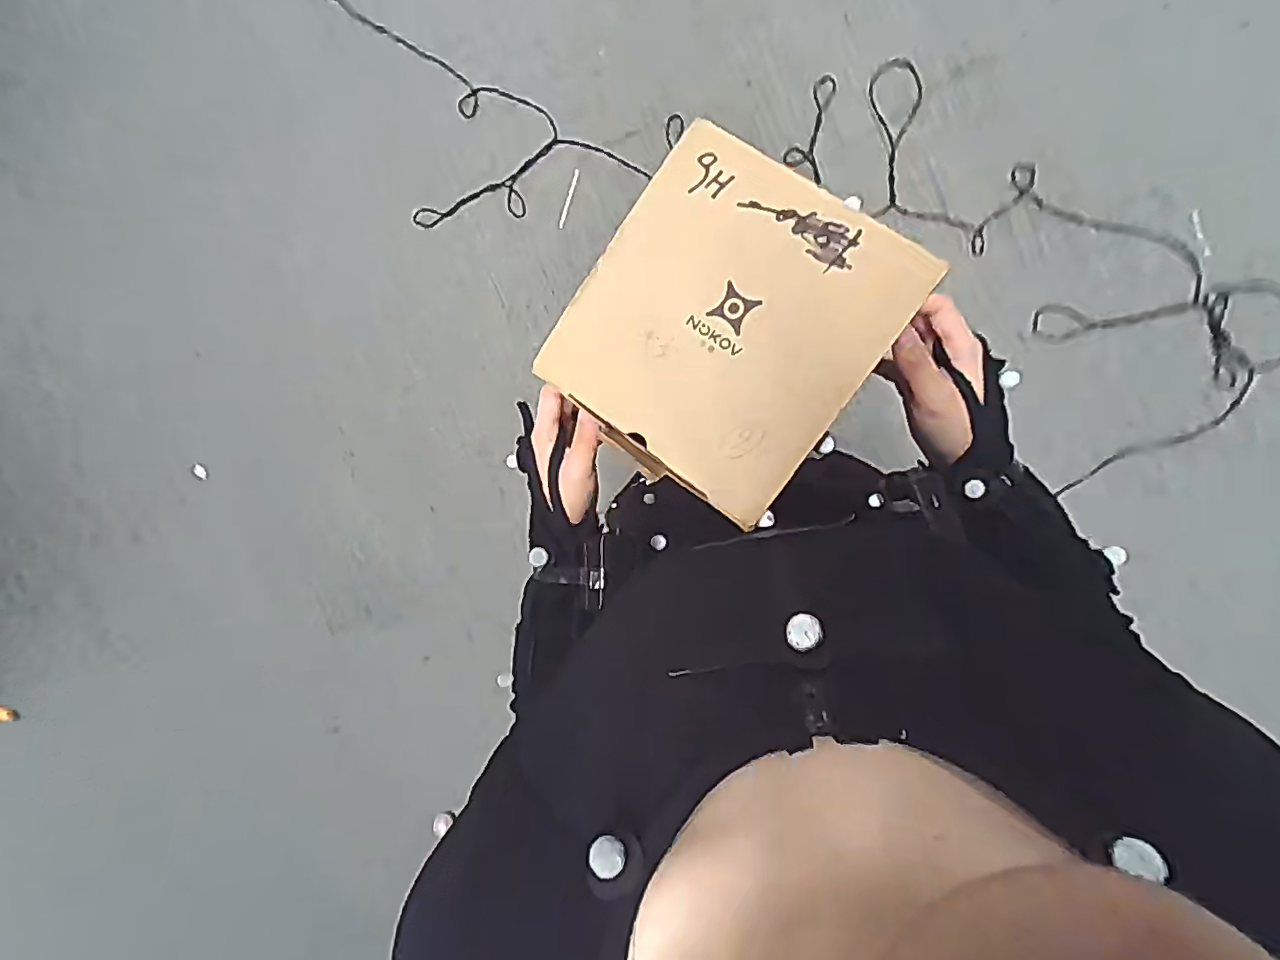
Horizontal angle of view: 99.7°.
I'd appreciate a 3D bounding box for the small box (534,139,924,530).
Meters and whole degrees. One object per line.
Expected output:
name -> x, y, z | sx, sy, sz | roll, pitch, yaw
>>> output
small box -> 0.061, -0.086, 0.395 | 0.168, 0.176, 0.179 | 38, 97, 10
